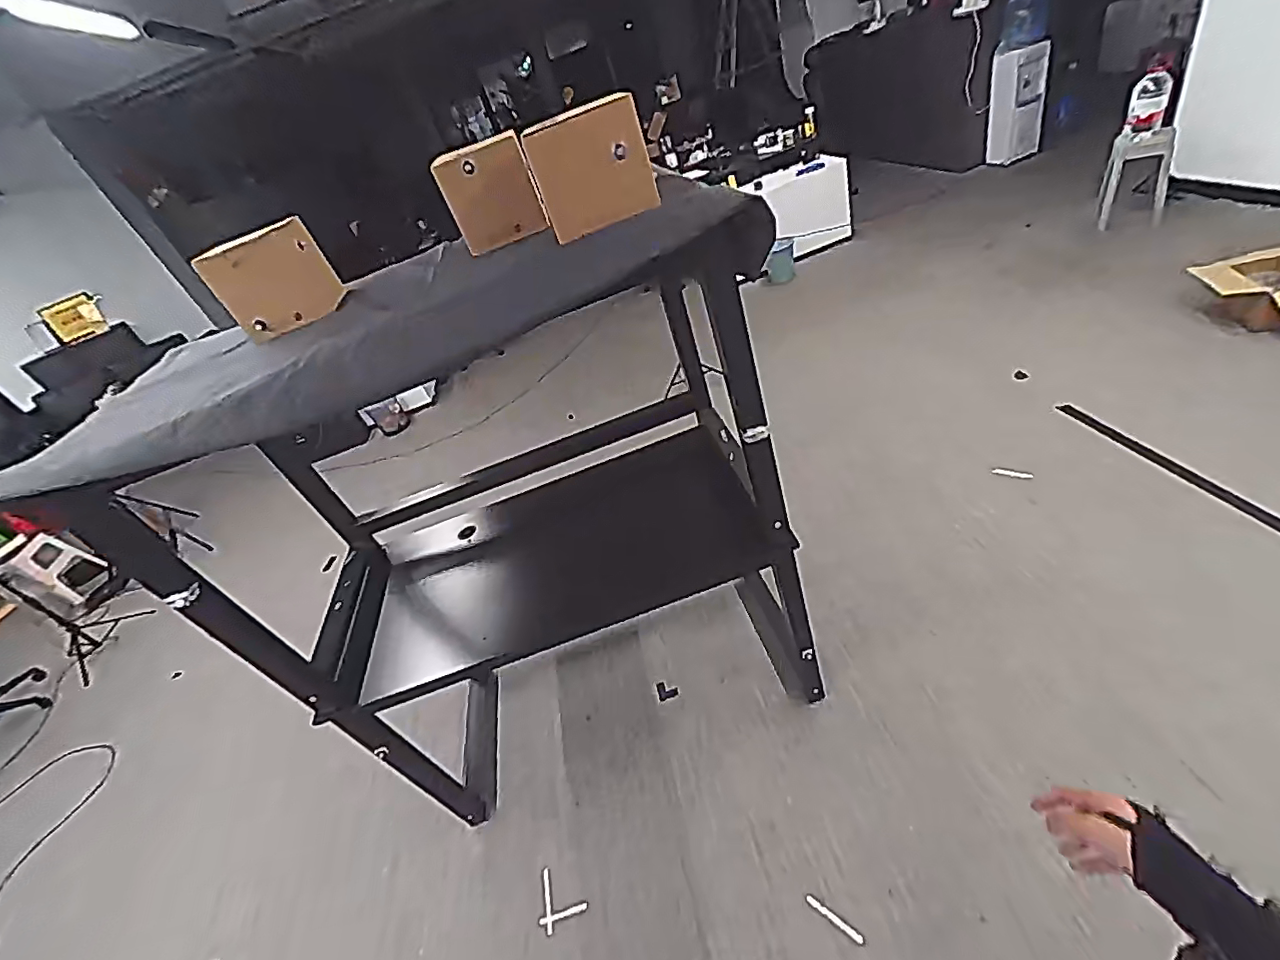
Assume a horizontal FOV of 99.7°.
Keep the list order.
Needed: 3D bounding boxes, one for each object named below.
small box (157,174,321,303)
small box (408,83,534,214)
[{"bbox_3d":[-0.754,-0.462,1.043,0.168,0.176,0.179,-23,37,-2],"label":"small box"},{"bbox_3d":[-0.314,-0.633,1.039,0.168,0.176,0.179,-21,37,2],"label":"small box"}]
